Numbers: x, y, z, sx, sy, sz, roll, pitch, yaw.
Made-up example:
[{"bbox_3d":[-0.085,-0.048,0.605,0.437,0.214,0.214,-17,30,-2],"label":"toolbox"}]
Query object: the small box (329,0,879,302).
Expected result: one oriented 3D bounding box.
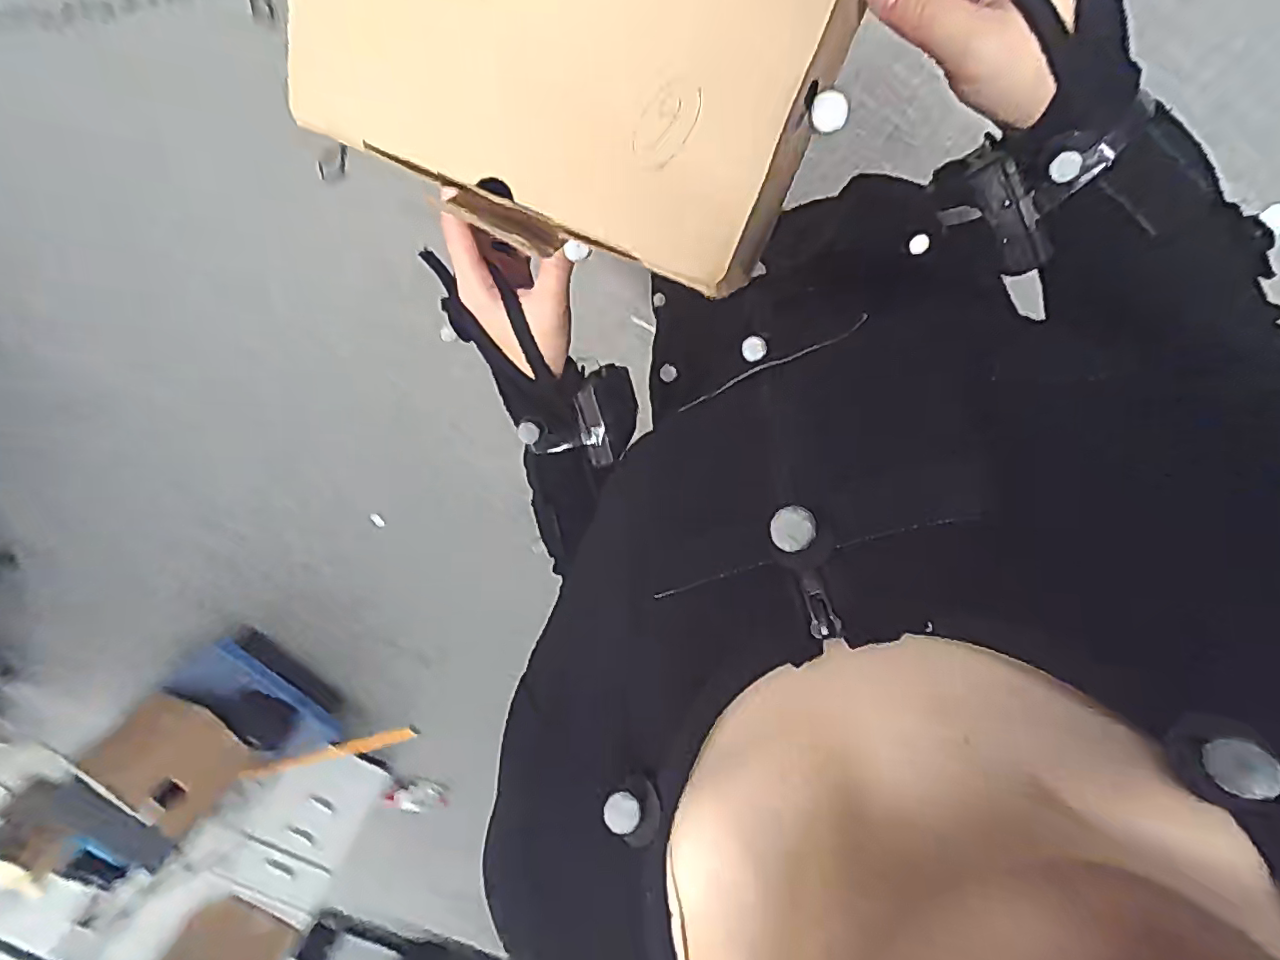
[{"bbox_3d":[0.006,-0.196,0.232,0.168,0.176,0.179,25,116,4],"label":"small box"}]
